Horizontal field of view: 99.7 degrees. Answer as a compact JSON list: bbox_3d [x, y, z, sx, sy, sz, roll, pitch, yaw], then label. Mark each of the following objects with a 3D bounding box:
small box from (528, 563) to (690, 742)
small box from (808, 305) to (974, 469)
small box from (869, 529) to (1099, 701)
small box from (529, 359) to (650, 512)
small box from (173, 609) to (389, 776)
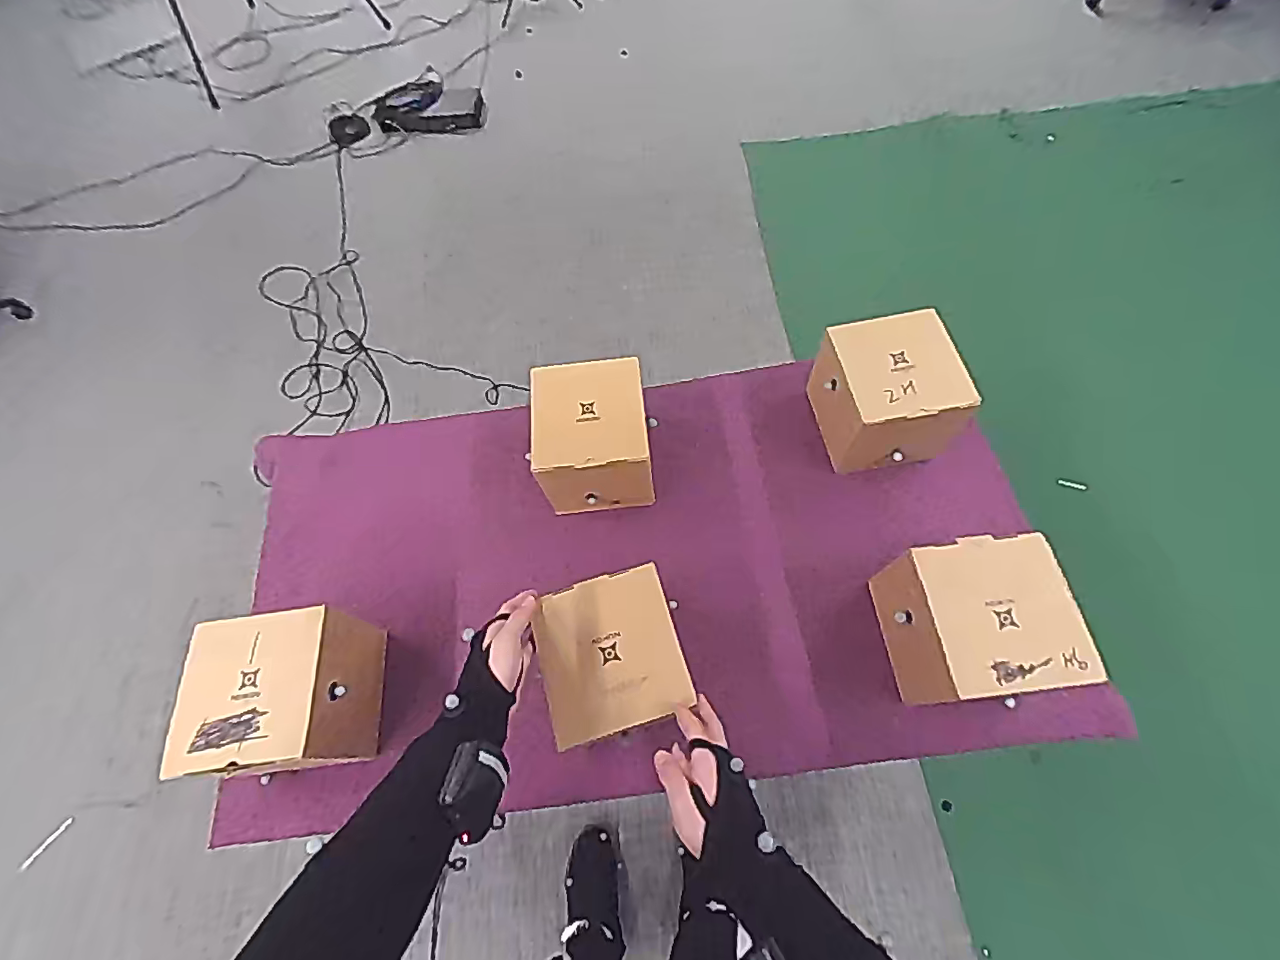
[{"bbox_3d":[-0.036,0.234,0.717,0.168,0.176,0.179,-16,65,-1],"label":"small box"},{"bbox_3d":[0.374,-0.139,0.846,0.168,0.176,0.179,-11,66,3],"label":"small box"},{"bbox_3d":[0.417,0.181,0.697,0.168,0.176,0.179,-8,65,3],"label":"small box"},{"bbox_3d":[-0.076,-0.065,0.859,0.168,0.176,0.179,-7,67,1],"label":"small box"},{"bbox_3d":[-0.462,0.286,0.729,0.168,0.176,0.179,-8,63,1],"label":"small box"}]
